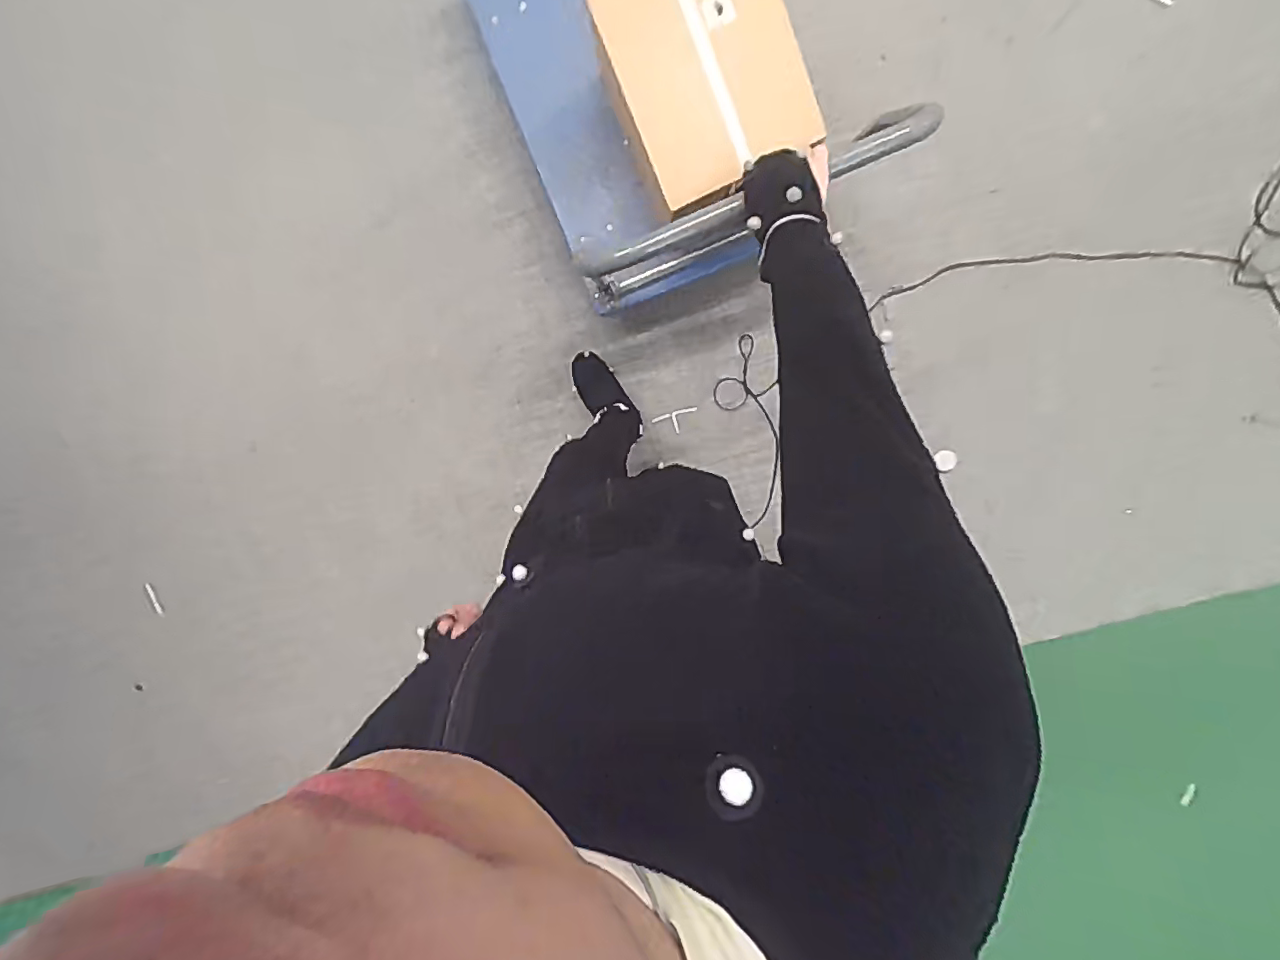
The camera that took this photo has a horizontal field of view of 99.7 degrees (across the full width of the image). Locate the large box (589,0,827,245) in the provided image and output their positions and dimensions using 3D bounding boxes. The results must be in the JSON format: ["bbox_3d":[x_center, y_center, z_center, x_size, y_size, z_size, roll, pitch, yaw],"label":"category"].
[{"bbox_3d":[0.132,-0.771,1.115,0.320,0.320,0.408,-23,100,6],"label":"large box"}]
